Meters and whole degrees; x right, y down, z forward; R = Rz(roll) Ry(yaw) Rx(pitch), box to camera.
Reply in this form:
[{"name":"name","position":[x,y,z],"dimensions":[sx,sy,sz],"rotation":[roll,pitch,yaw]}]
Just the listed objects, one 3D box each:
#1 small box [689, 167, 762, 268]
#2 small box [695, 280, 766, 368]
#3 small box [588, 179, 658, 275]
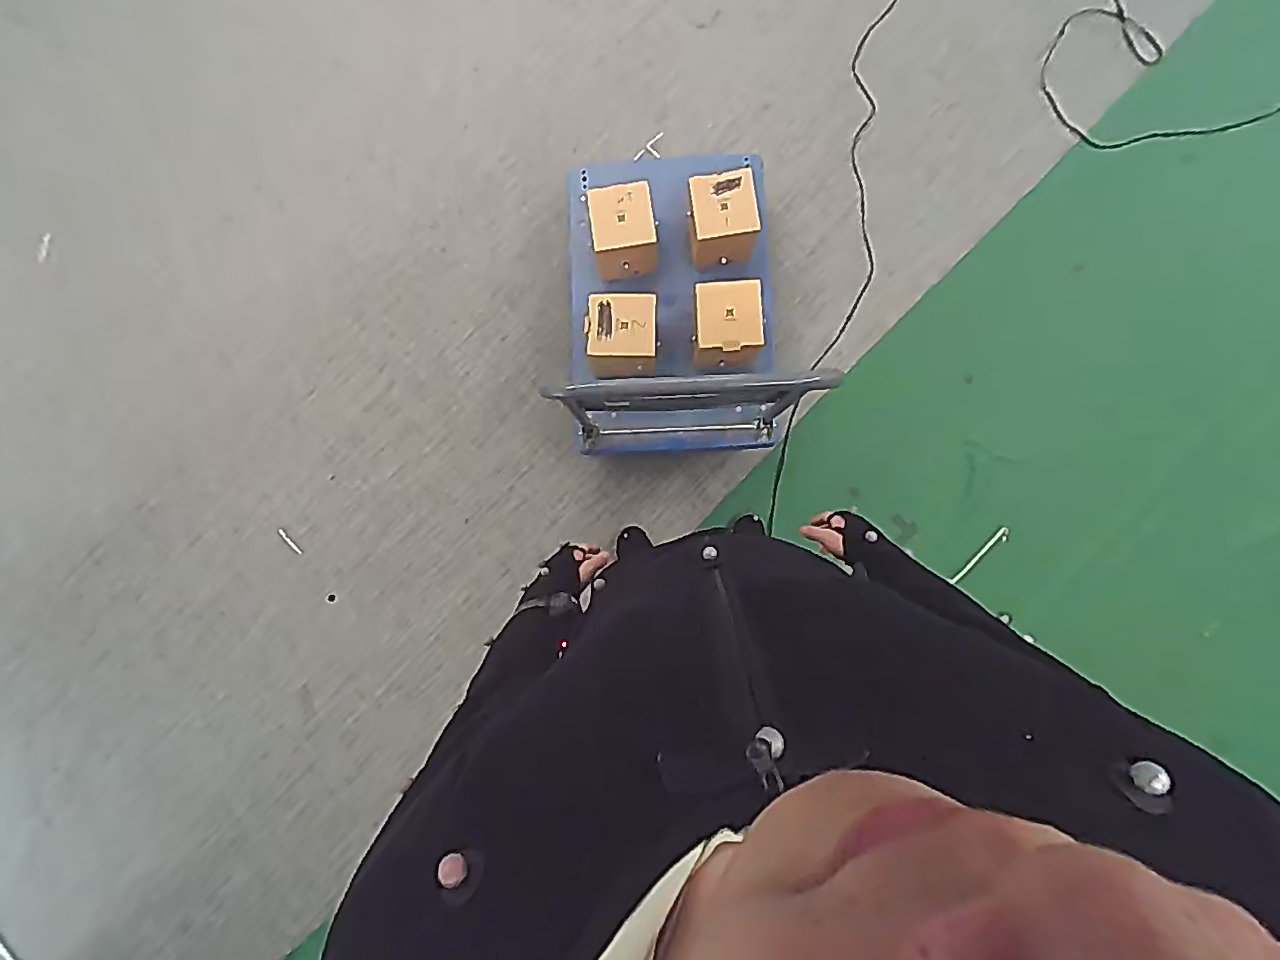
[{"name":"small box","position":[0.227,-0.707,1.468],"dimensions":[0.168,0.176,0.179],"rotation":[-7,85,3]},{"name":"small box","position":[0.235,-0.412,1.441],"dimensions":[0.168,0.176,0.179],"rotation":[-3,85,3]},{"name":"small box","position":[-0.041,-0.680,1.480],"dimensions":[0.168,0.176,0.179],"rotation":[-8,84,1]}]
